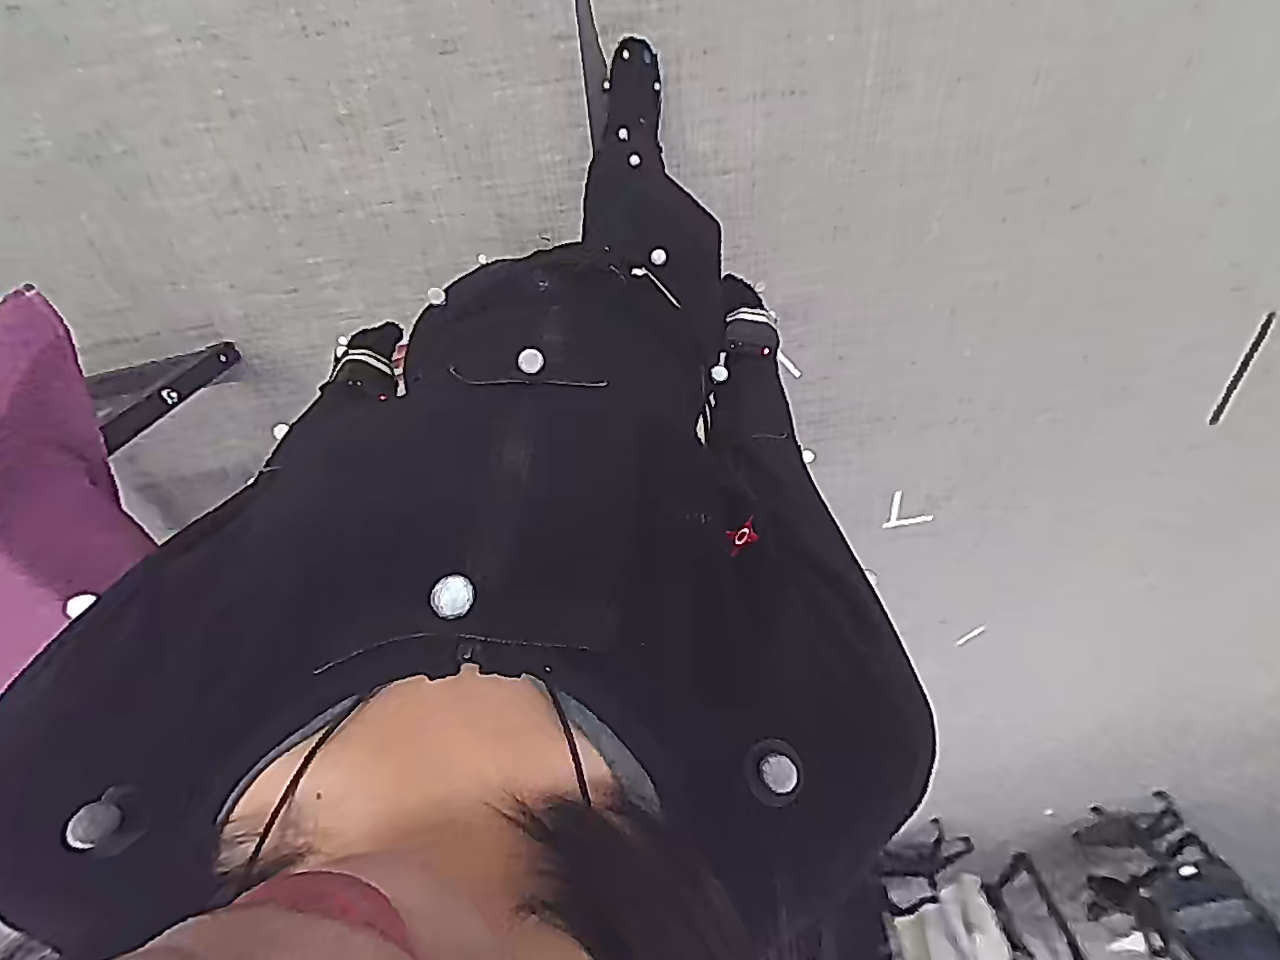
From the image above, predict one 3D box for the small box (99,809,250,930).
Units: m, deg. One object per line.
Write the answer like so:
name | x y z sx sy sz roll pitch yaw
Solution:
small box | -1.040 0.883 1.234 0.179 0.176 0.168 -17 124 6
